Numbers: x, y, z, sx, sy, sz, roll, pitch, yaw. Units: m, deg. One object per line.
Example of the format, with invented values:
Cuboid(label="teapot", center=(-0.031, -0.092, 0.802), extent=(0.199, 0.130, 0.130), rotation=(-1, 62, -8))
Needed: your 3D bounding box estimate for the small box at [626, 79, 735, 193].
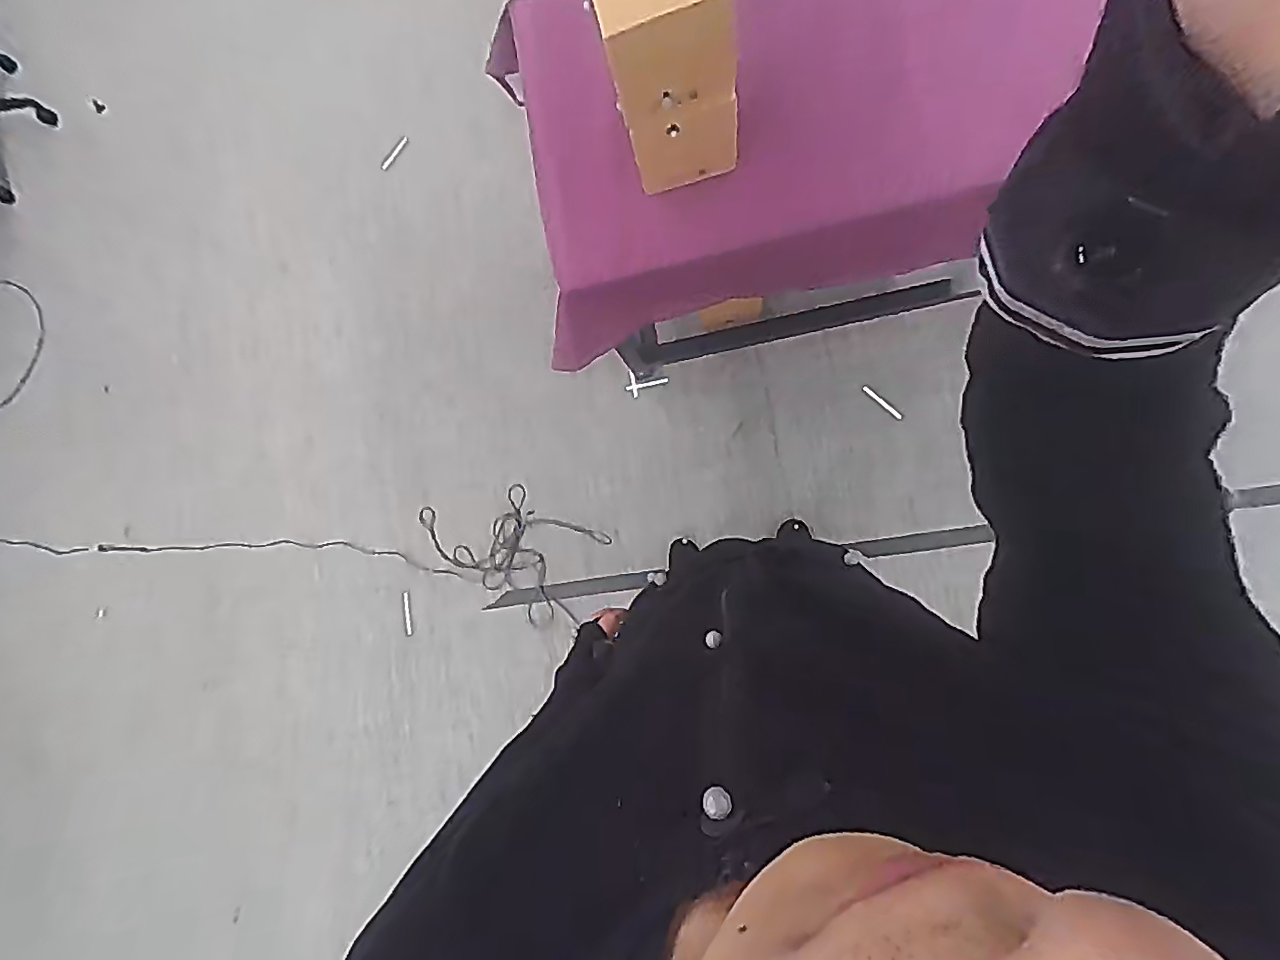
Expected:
Cuboid(label="small box", center=(0.058, -0.621, 0.894), extent=(0.168, 0.176, 0.179), rotation=(-12, 84, 9))

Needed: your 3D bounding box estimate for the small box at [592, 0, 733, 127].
Cuboid(label="small box", center=(0.025, -0.634, 0.734), extent=(0.168, 0.176, 0.179), rotation=(-14, 84, 9))
